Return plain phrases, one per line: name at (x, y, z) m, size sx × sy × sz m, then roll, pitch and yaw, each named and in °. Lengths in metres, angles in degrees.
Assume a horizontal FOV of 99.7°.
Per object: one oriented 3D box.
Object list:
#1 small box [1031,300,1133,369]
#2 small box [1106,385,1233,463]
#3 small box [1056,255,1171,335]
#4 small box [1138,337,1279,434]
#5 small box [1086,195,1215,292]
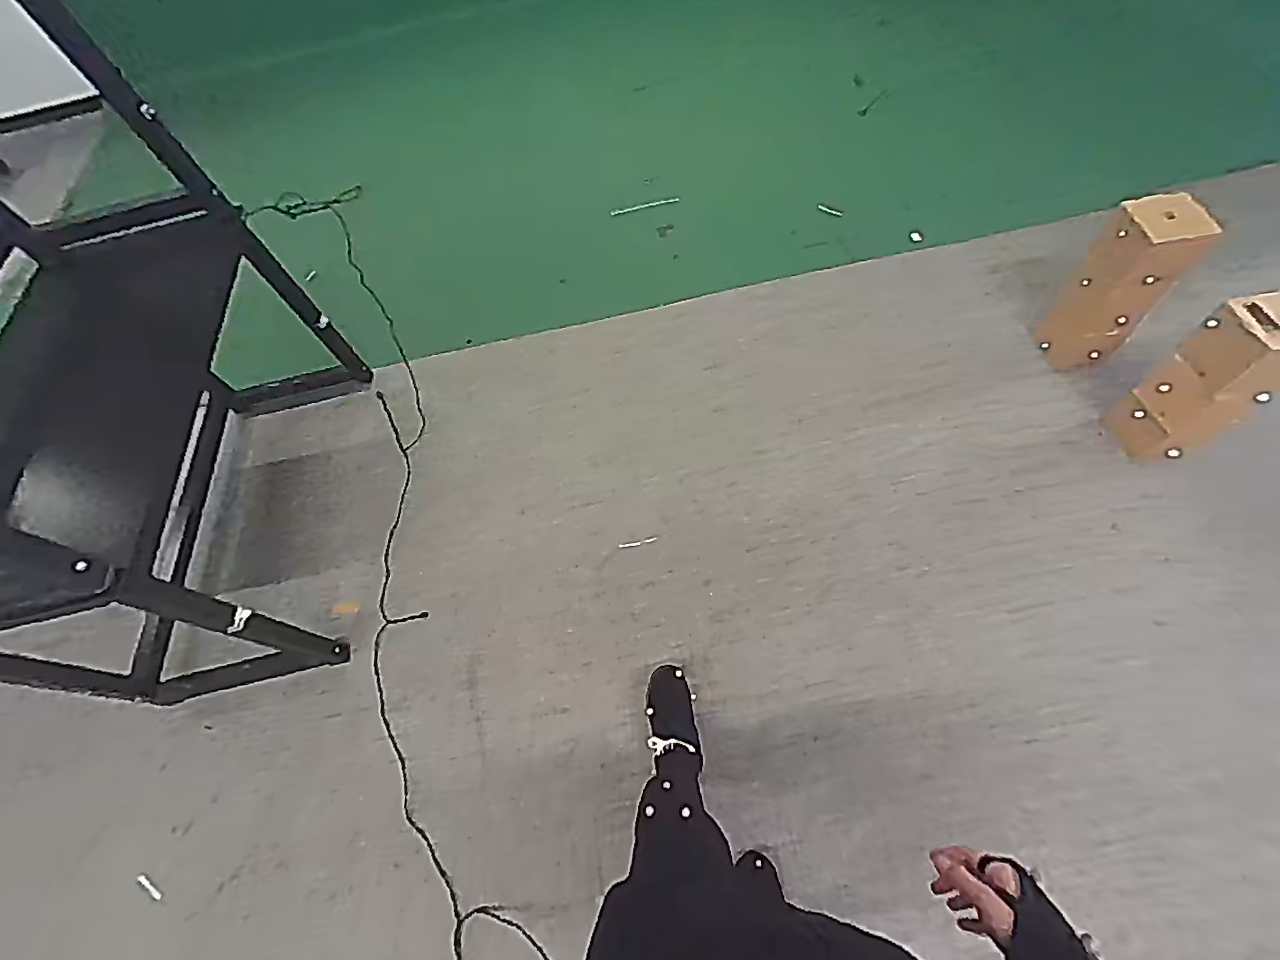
small box at (1.436, -0.480, 1.771) m, size 0.168 × 0.176 × 0.179 m, roll -9°, pitch 60°, yaw 3°
small box at (1.529, -0.173, 1.579) m, size 0.168 × 0.176 × 0.179 m, roll -11°, pitch 60°, yaw 3°
small box at (1.414, -0.568, 1.633) m, size 0.168 × 0.176 × 0.179 m, roll -9°, pitch 60°, yaw 4°
small box at (1.492, -0.244, 1.438) m, size 0.179 × 0.176 × 0.168 m, roll -14°, pitch 59°, yaw 0°
small box at (1.393, -0.650, 1.494) m, size 0.168 × 0.176 × 0.179 m, roll -7°, pitch 60°, yaw 6°
